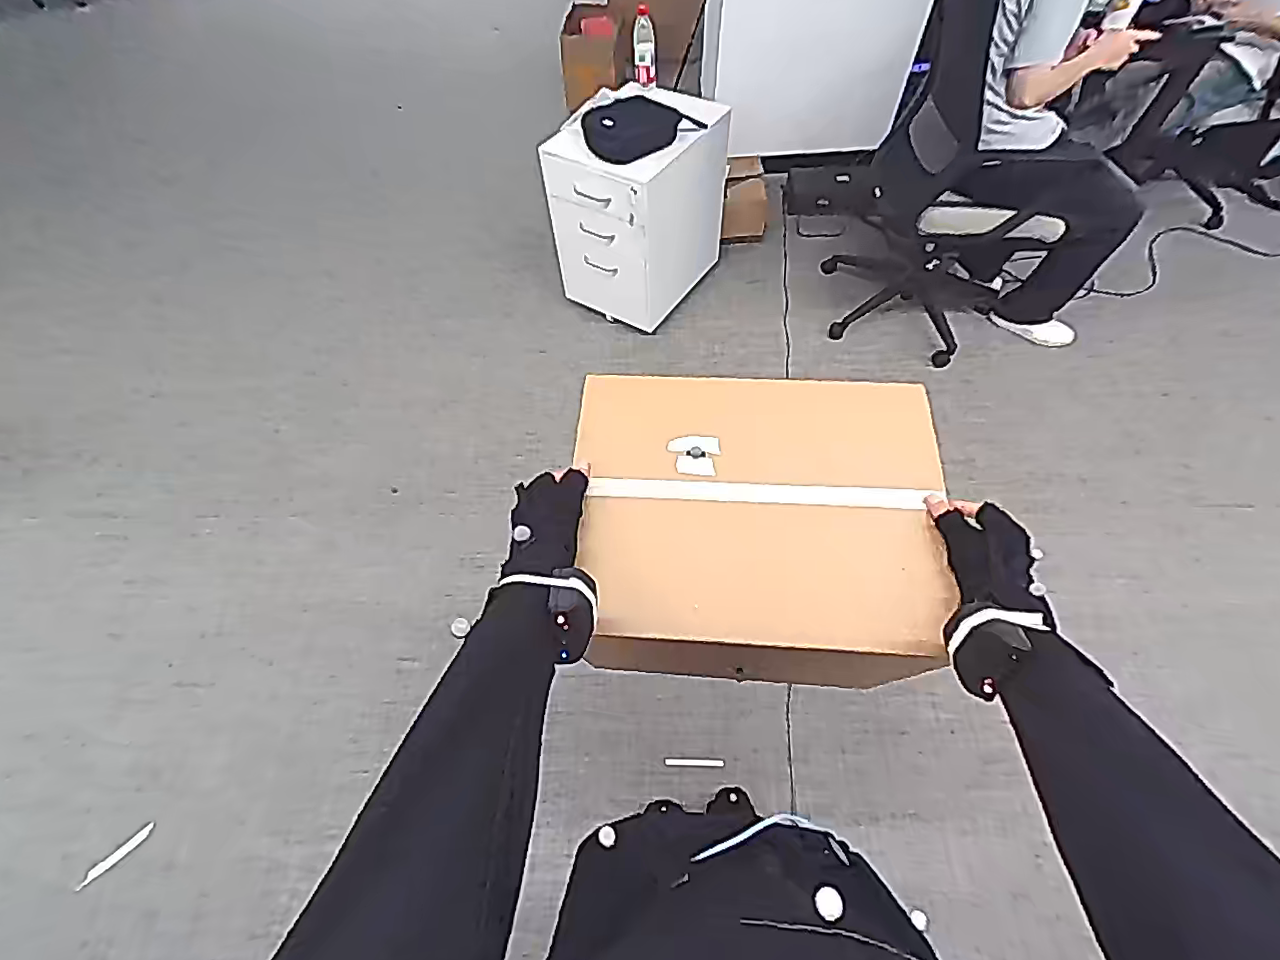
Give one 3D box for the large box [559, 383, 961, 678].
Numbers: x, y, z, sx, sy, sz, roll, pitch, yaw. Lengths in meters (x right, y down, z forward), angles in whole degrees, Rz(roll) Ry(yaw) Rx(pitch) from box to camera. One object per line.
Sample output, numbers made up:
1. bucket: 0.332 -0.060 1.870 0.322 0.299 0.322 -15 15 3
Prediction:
1. large box: 0.136 0.084 0.734 0.408 0.320 0.320 2 63 6
